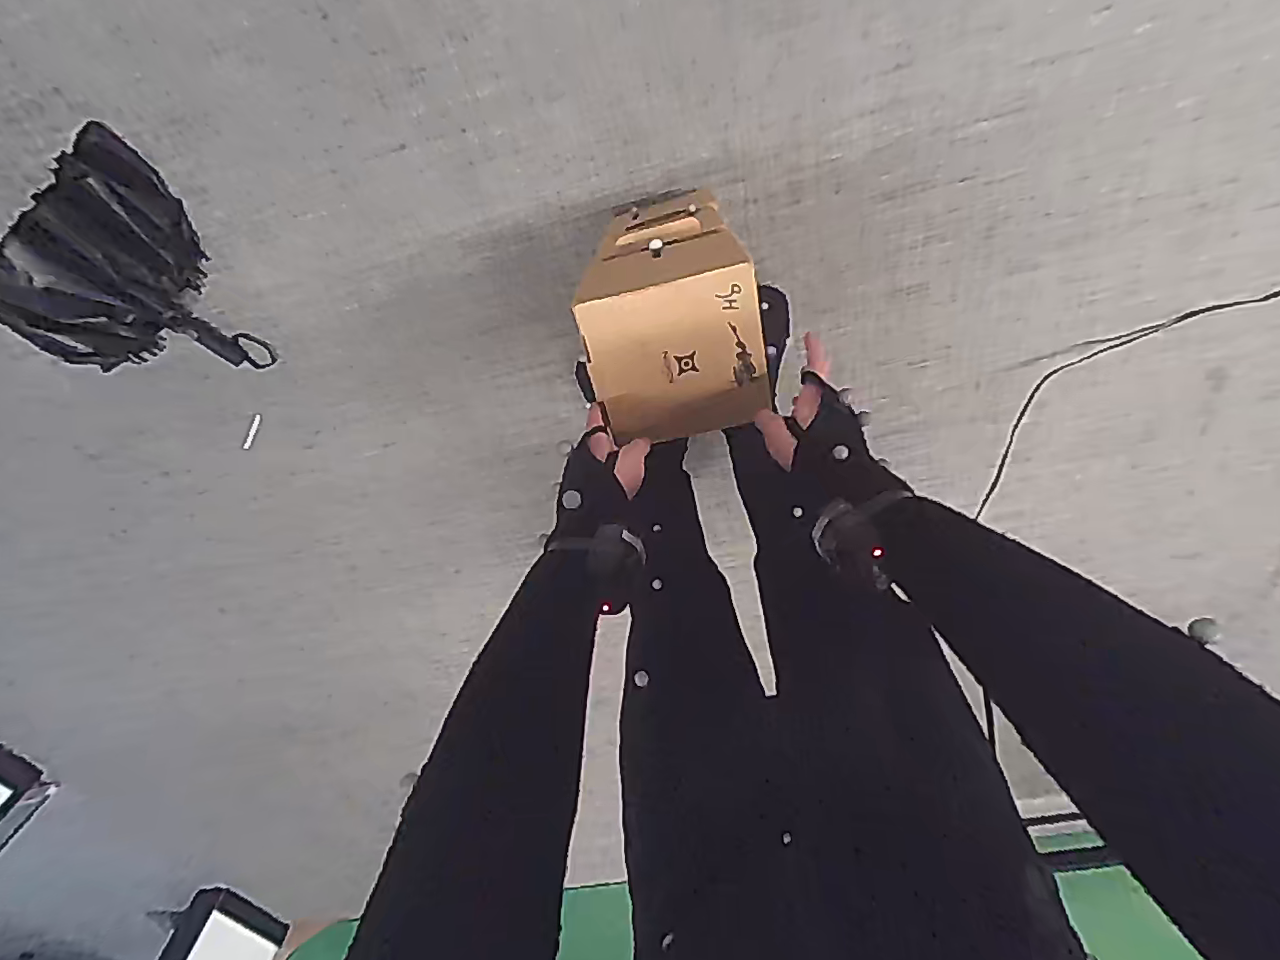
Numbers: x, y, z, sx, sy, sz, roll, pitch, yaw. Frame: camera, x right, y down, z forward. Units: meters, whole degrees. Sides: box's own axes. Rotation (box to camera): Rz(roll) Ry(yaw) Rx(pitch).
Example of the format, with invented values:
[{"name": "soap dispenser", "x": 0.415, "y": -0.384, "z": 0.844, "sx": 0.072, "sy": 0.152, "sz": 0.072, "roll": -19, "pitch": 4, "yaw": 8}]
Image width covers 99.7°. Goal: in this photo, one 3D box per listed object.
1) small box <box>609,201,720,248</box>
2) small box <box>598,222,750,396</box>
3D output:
[{"name": "small box", "x": 0.054, "y": -0.340, "z": 0.886, "sx": 0.168, "sy": 0.176, "sz": 0.179, "roll": -14, "pitch": 123, "yaw": 10}, {"name": "small box", "x": 0.047, "y": -0.245, "z": 0.752, "sx": 0.168, "sy": 0.176, "sz": 0.179, "roll": -13, "pitch": 122, "yaw": 9}]
